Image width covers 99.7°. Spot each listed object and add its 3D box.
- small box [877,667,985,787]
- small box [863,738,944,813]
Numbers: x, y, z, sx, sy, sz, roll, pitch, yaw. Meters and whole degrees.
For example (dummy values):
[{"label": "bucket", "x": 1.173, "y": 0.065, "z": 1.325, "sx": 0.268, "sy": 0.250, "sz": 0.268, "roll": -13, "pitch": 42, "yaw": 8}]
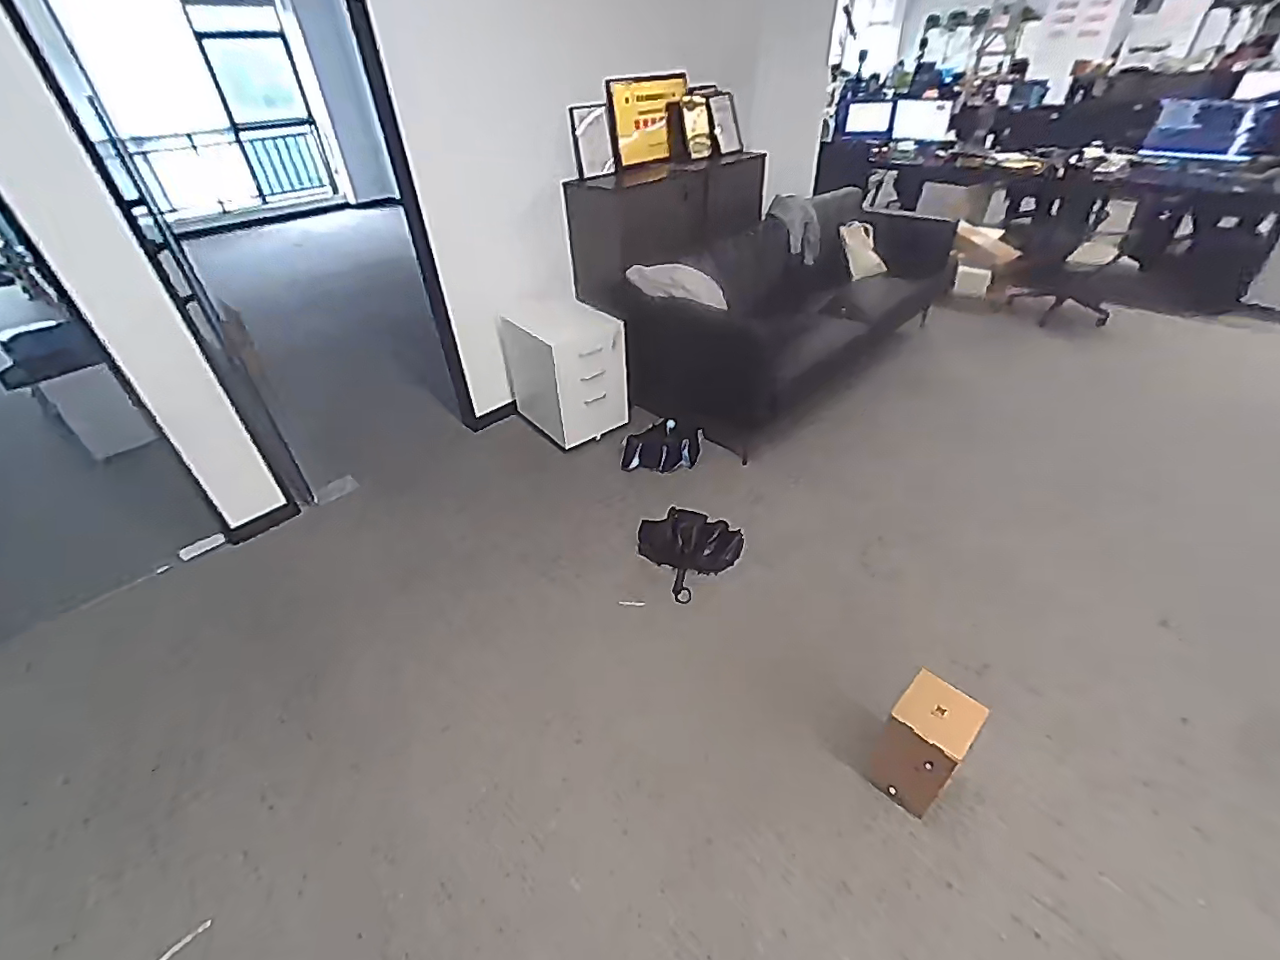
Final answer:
[{"label": "small box", "x": 0.709, "y": 0.611, "z": 1.335, "sx": 0.179, "sy": 0.176, "sz": 0.168, "roll": -32, "pitch": 48, "yaw": -33}, {"label": "small box", "x": 0.720, "y": 0.735, "z": 1.439, "sx": 0.168, "sy": 0.176, "sz": 0.179, "roll": 30, "pitch": 50, "yaw": 34}]
